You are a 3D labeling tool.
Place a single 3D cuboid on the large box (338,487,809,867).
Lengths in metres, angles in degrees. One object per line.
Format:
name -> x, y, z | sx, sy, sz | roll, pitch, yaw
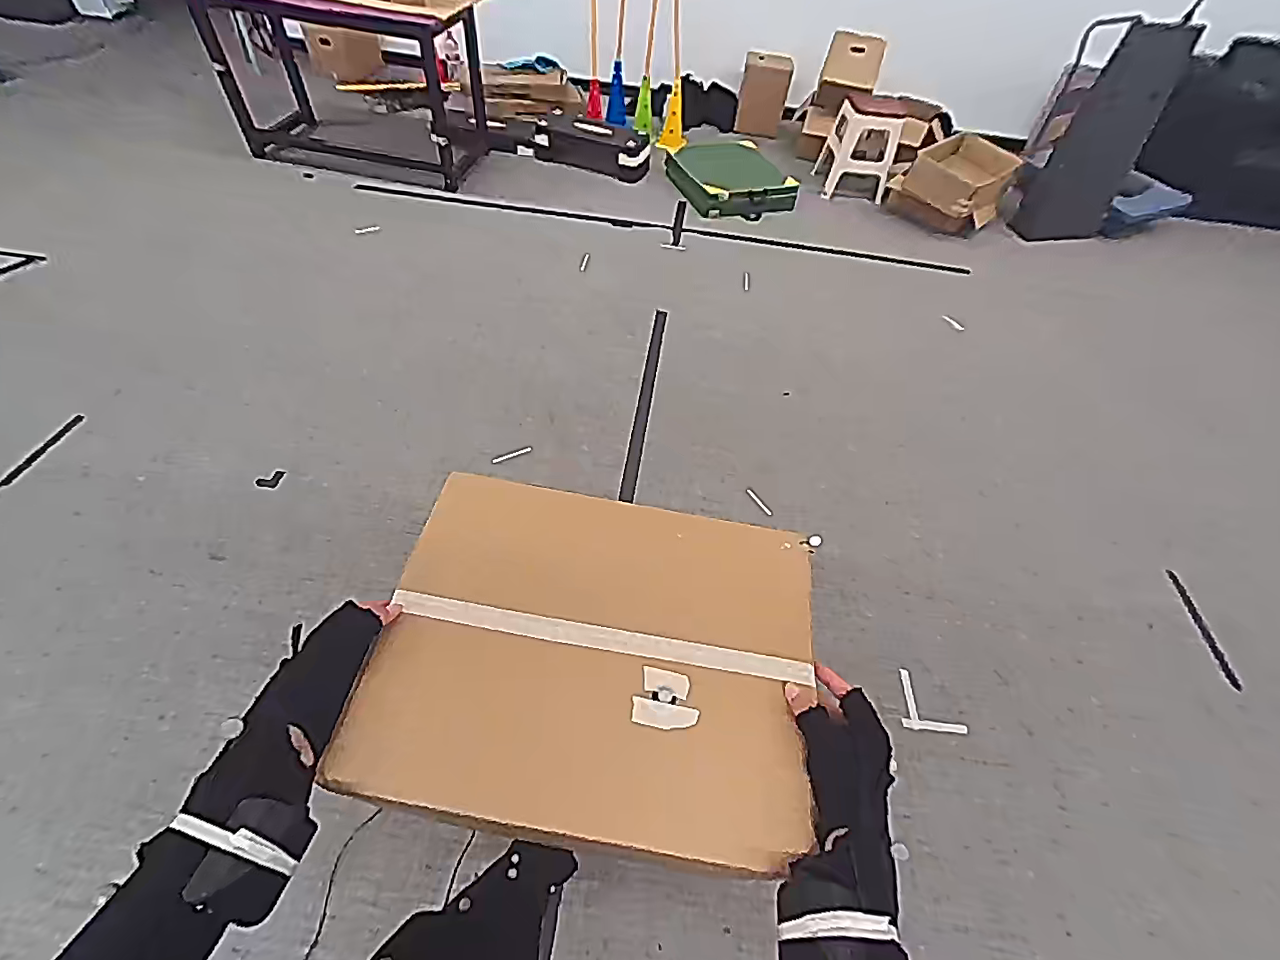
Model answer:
large box -> -0.051, 0.245, 0.650 | 0.408, 0.320, 0.320 | 10, 54, 1
